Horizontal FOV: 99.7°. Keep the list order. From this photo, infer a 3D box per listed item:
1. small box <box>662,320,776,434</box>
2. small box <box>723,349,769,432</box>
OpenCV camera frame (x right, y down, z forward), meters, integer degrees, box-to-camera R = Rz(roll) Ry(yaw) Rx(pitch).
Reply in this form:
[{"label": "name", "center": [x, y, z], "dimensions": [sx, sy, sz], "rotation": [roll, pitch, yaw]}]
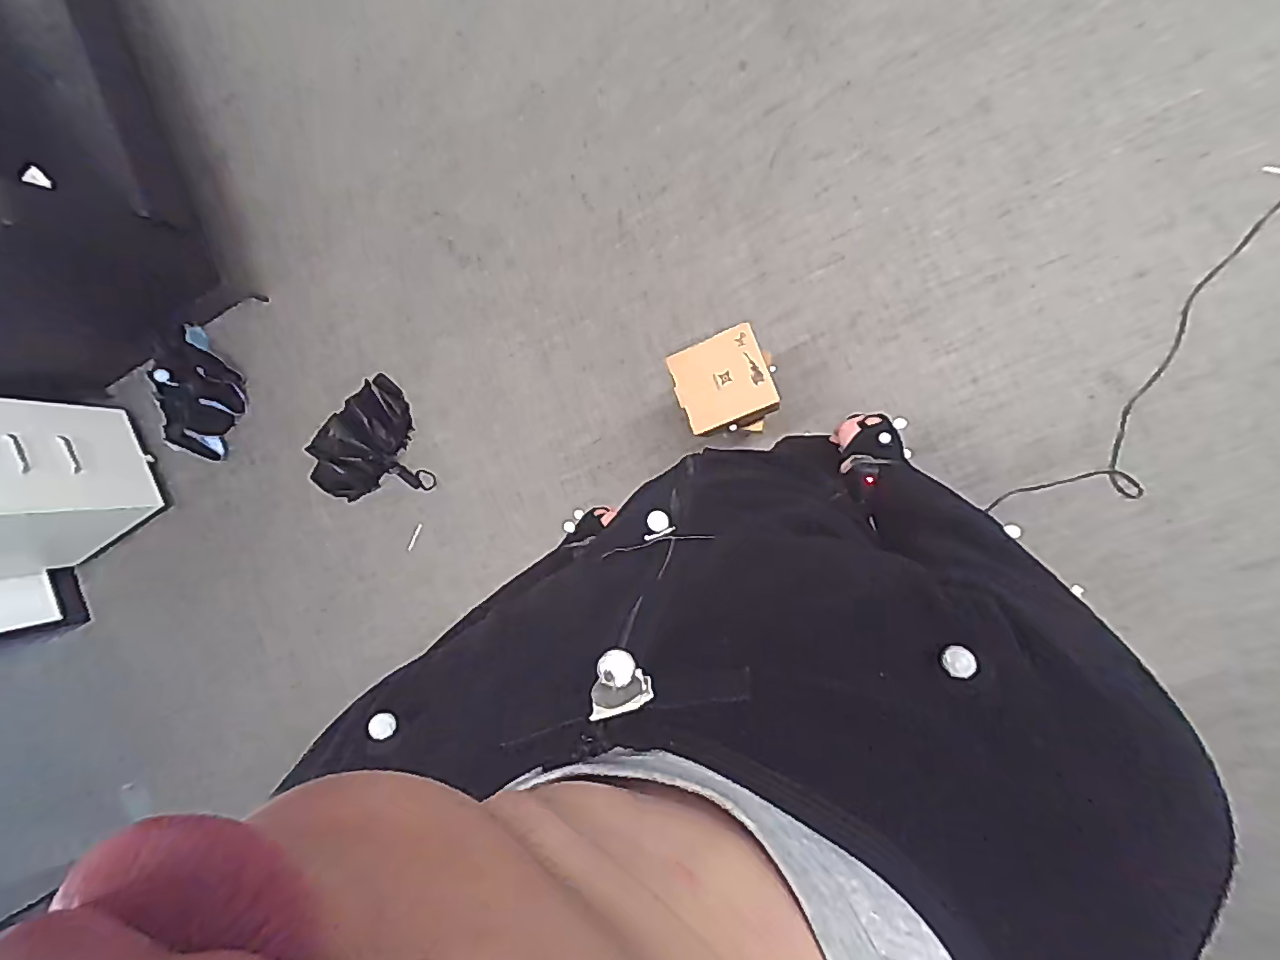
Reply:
[{"label": "small box", "center": [0.168, -0.200, 1.110], "dimensions": [0.179, 0.176, 0.168], "rotation": [-21, 87, 16]}, {"label": "small box", "center": [0.209, -0.209, 1.268], "dimensions": [0.168, 0.176, 0.179], "rotation": [7, 95, 15]}]
